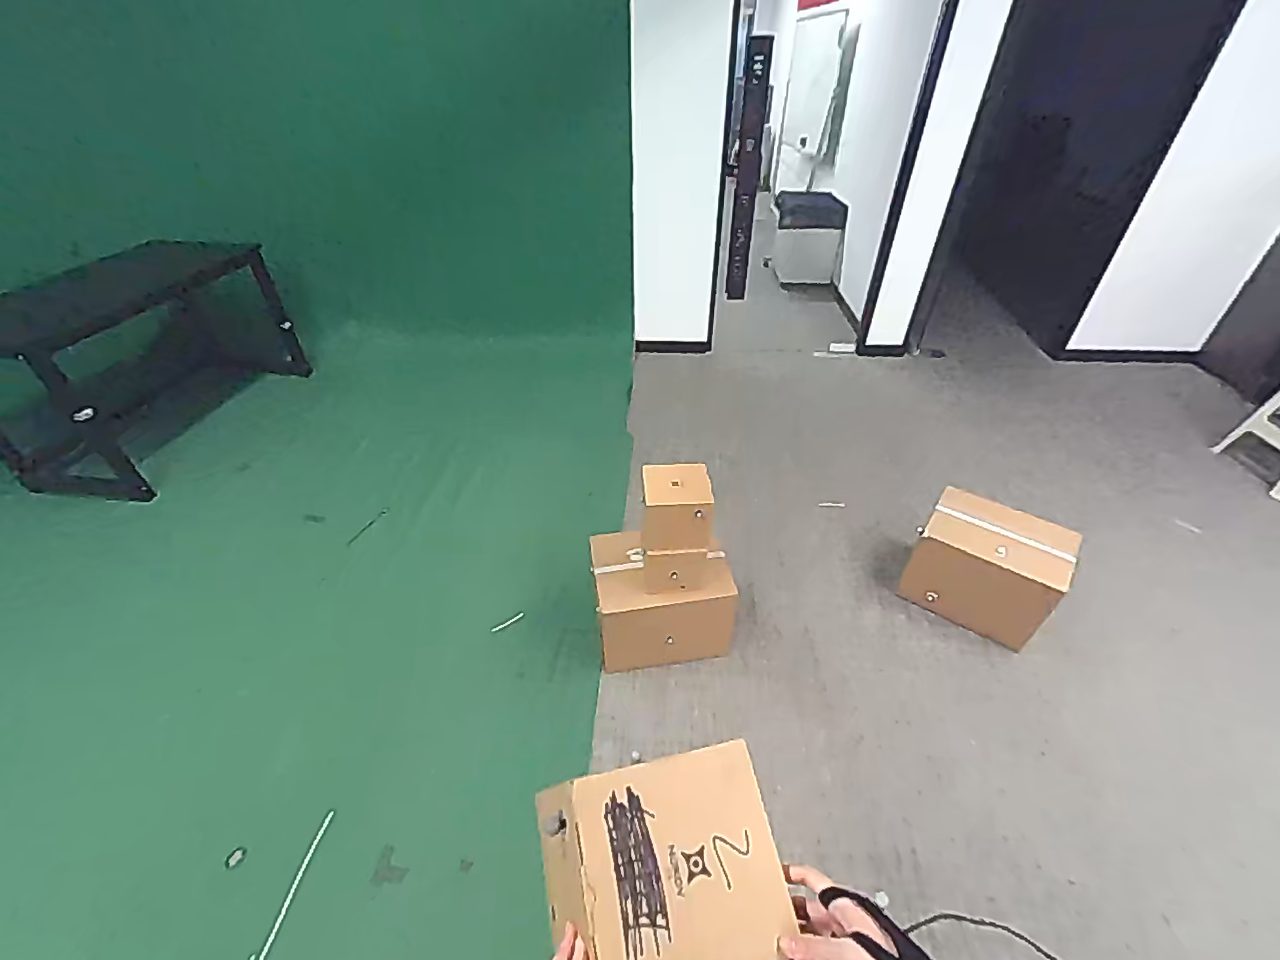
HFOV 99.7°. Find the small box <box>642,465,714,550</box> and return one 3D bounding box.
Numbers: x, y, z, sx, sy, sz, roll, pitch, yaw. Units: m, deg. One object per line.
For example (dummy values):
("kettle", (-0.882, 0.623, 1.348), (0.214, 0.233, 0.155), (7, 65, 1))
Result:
("small box", (0.096, 0.075, 1.456), (0.179, 0.176, 0.168), (-2, 39, -3))

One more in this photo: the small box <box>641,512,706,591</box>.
("small box", (0.091, 0.206, 1.552), (0.168, 0.176, 0.179), (-2, 39, -4))

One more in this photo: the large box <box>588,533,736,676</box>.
("large box", (0.060, 0.381, 1.727), (0.408, 0.320, 0.320), (-7, 38, -7))
